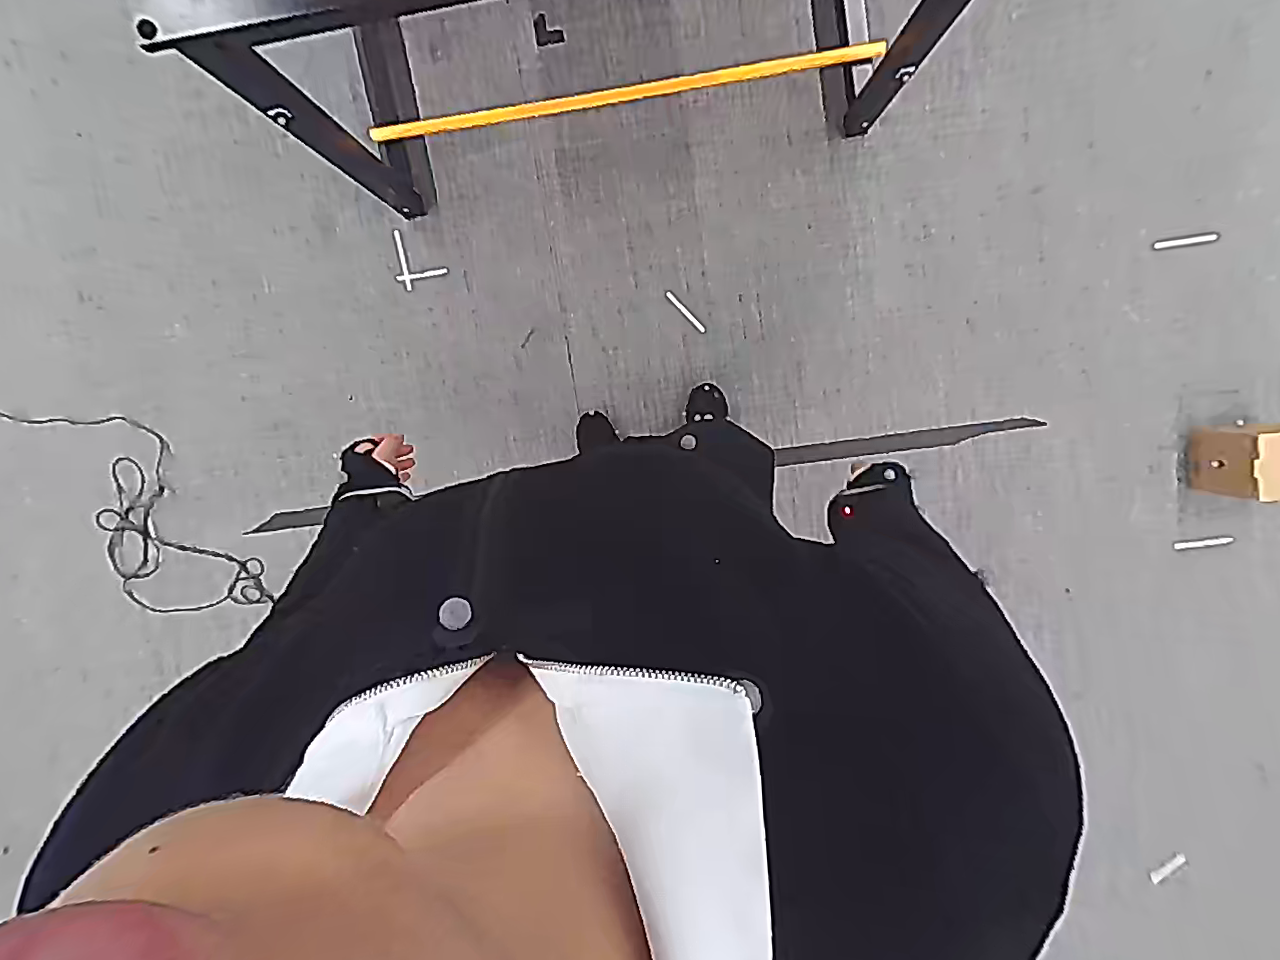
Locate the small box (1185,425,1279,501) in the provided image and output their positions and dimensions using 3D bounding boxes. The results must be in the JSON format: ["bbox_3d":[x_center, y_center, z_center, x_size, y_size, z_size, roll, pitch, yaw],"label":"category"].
[{"bbox_3d":[1.548,-0.047,1.373,0.179,0.176,0.168,-7,99,3],"label":"small box"}]
